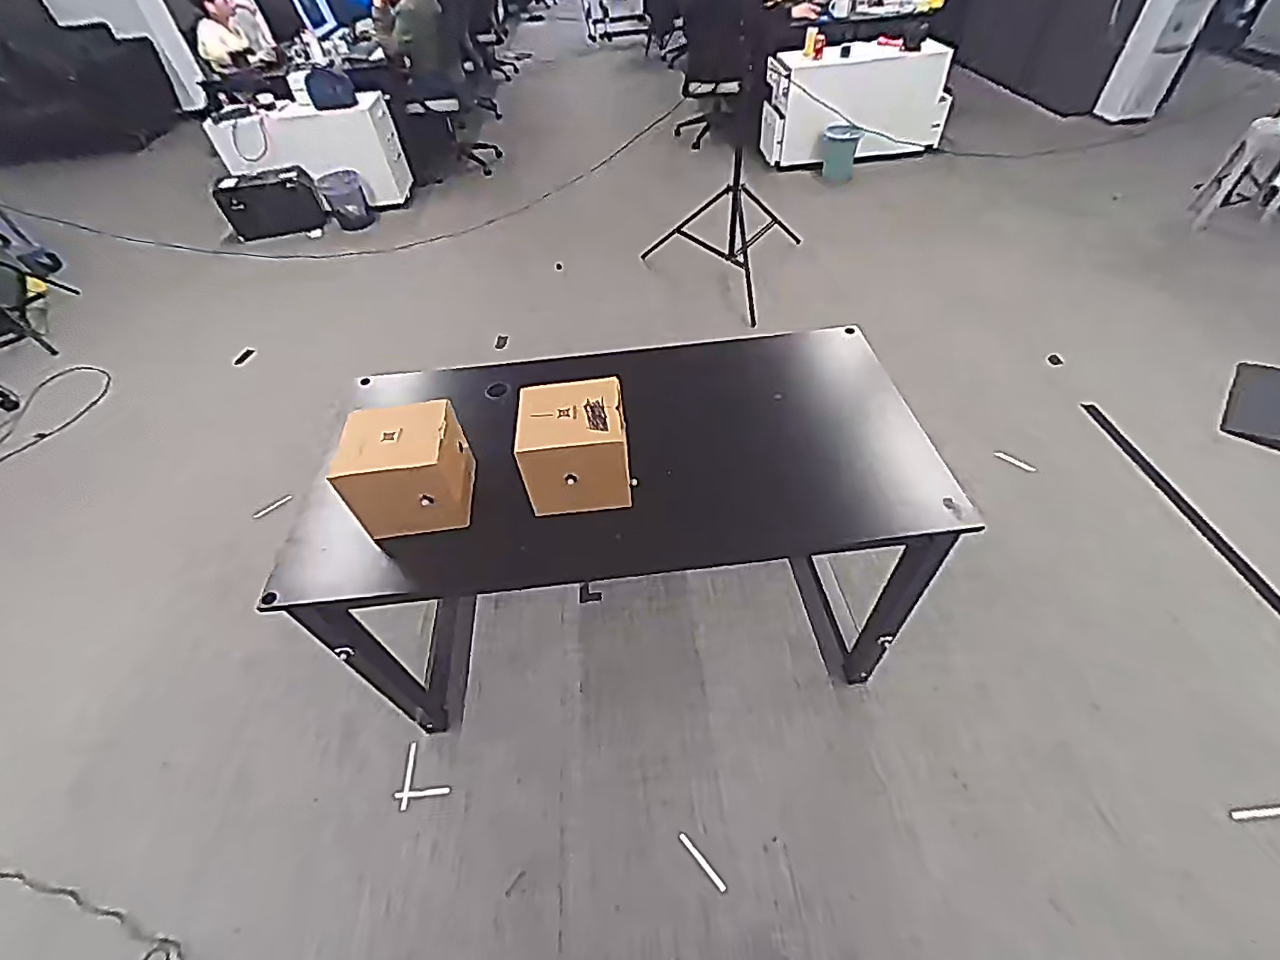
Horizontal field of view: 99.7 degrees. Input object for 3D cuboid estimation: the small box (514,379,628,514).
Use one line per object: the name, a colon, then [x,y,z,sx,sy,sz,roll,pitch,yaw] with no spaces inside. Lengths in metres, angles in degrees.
small box: [-0.114,-0.057,0.970,0.179,0.176,0.168,-6,48,1]

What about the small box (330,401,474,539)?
small box: [-0.406,-0.016,0.962,0.179,0.176,0.168,-9,48,-2]
